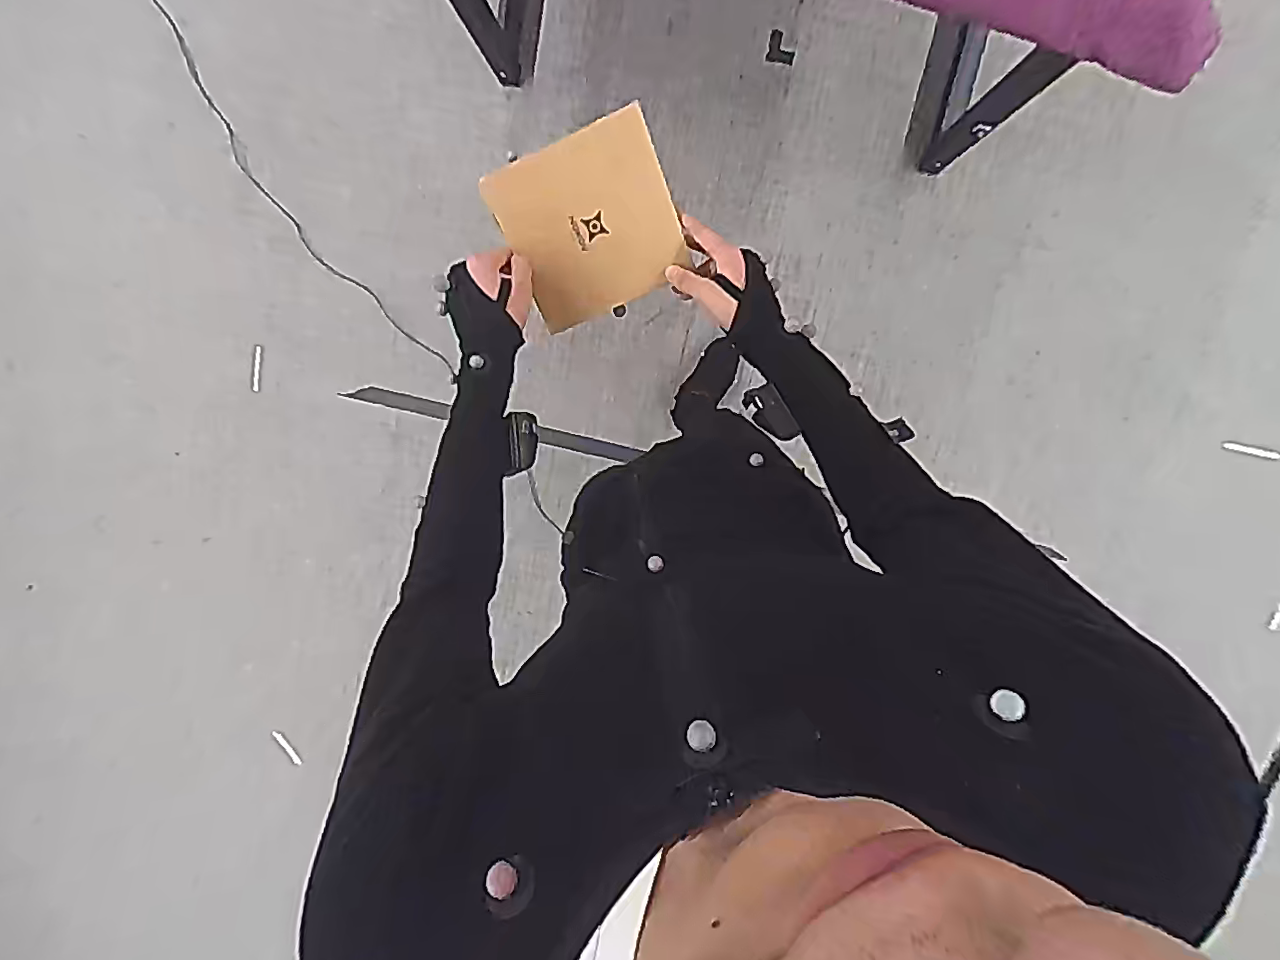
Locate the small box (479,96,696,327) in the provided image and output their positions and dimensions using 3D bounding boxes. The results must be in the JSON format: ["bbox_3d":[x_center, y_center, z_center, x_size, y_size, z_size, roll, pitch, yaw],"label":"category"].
[{"bbox_3d":[-0.052,-0.301,0.617,0.179,0.176,0.168,-21,117,9],"label":"small box"}]
